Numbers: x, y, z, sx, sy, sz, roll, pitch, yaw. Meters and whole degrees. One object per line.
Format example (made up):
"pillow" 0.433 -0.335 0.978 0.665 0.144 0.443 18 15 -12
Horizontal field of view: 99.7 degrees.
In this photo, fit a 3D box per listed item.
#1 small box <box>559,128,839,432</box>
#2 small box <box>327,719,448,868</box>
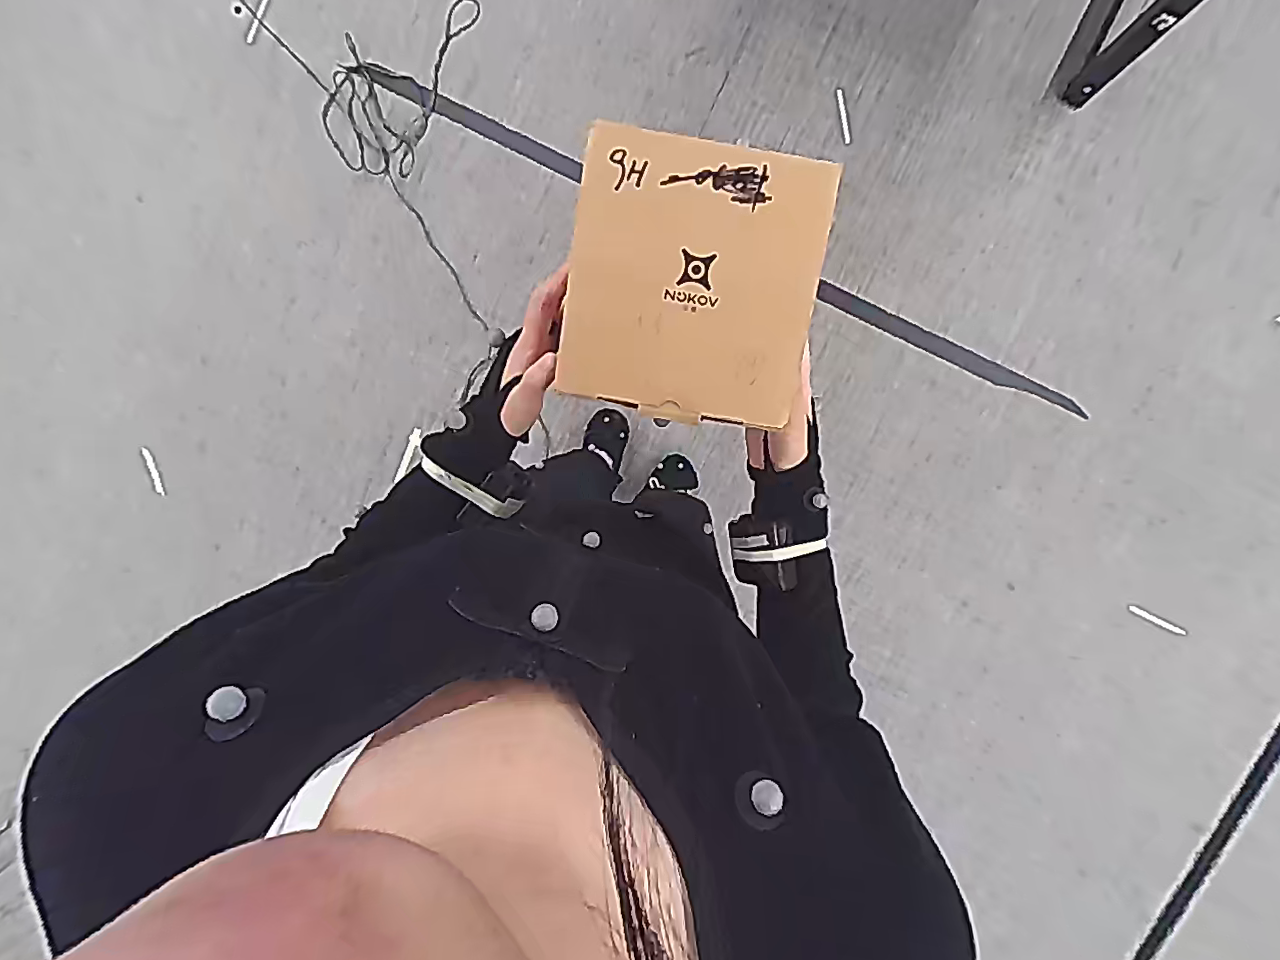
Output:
"small box" 0.038 -0.146 0.446 0.168 0.176 0.179 10 101 -1
"small box" -0.492 0.594 1.030 0.168 0.176 0.179 22 95 4
